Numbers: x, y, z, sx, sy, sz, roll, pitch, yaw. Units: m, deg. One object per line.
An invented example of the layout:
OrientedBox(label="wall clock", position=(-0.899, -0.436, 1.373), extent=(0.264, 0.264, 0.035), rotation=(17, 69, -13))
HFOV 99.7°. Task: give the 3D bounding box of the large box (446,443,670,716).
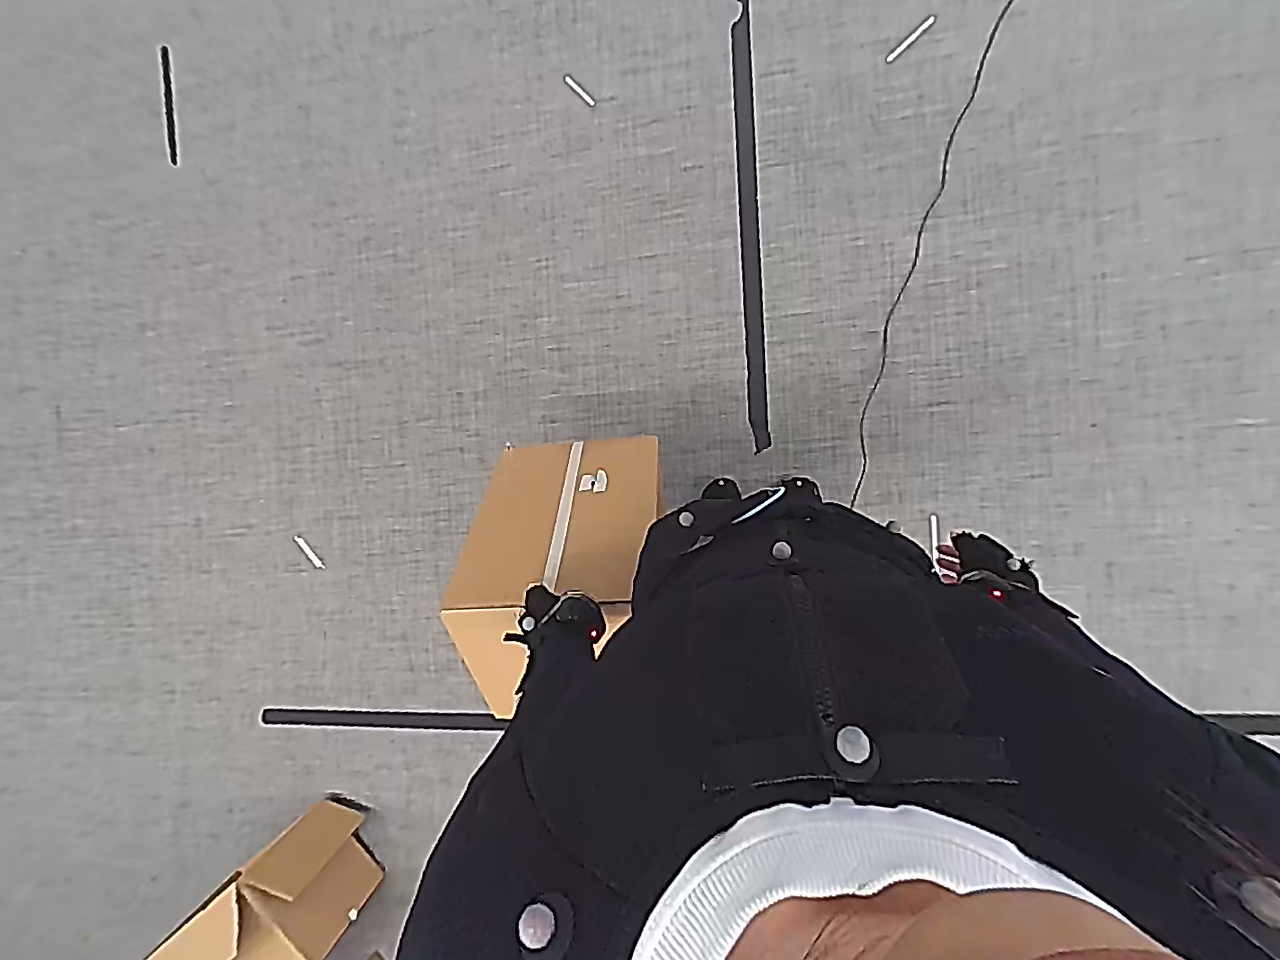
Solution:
OrientedBox(label="large box", position=(-0.112, 0.176, 1.019), extent=(0.320, 0.408, 0.320), rotation=(-3, 128, 6))
